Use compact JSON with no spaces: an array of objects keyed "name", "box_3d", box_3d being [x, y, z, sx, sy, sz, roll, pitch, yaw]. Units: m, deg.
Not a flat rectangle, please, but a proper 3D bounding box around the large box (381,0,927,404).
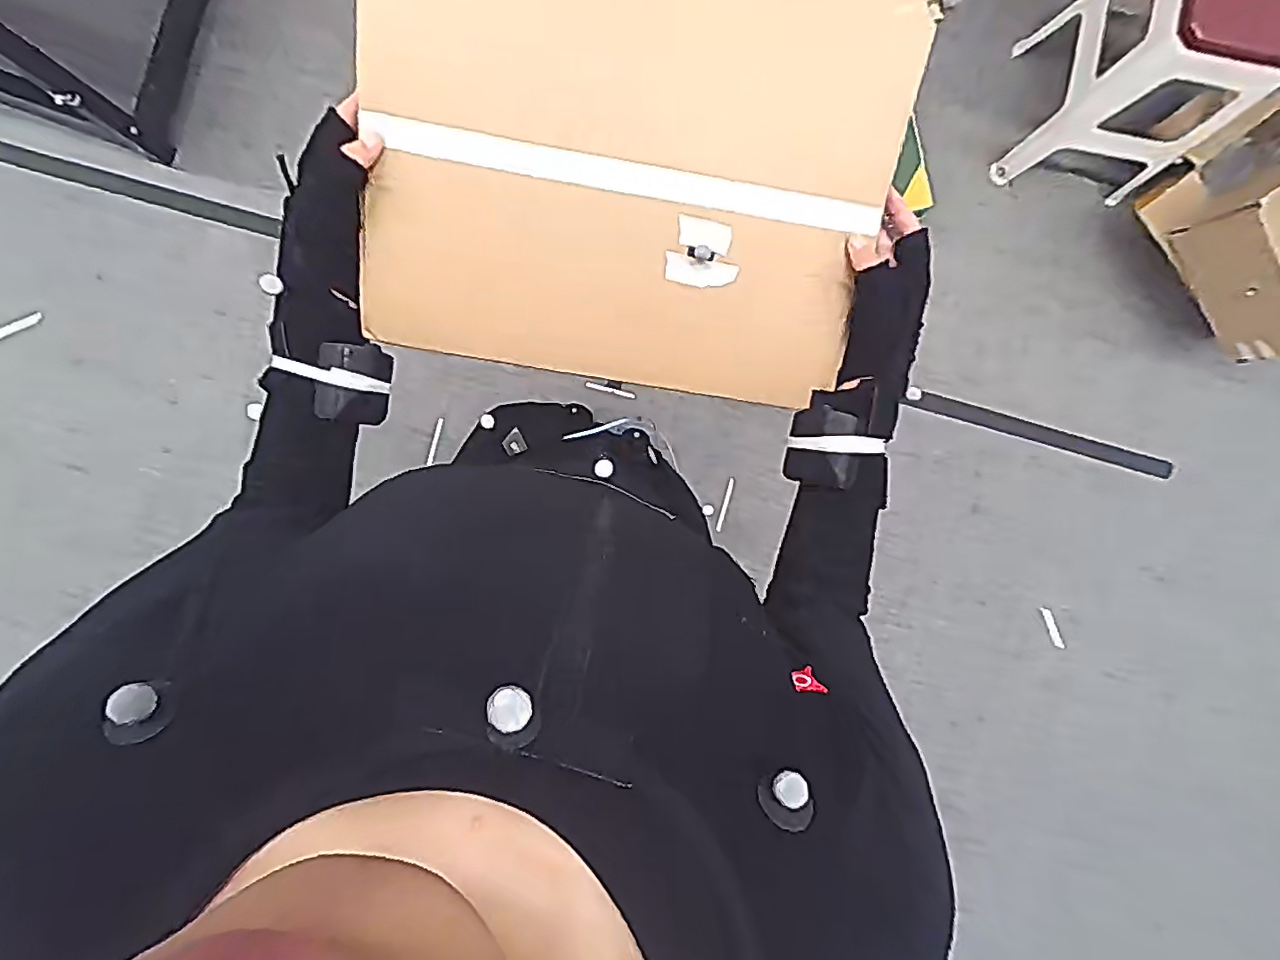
[{"name":"large box","box_3d":[-0.010,-0.286,0.572,0.408,0.320,0.320,8,110,-5]}]
